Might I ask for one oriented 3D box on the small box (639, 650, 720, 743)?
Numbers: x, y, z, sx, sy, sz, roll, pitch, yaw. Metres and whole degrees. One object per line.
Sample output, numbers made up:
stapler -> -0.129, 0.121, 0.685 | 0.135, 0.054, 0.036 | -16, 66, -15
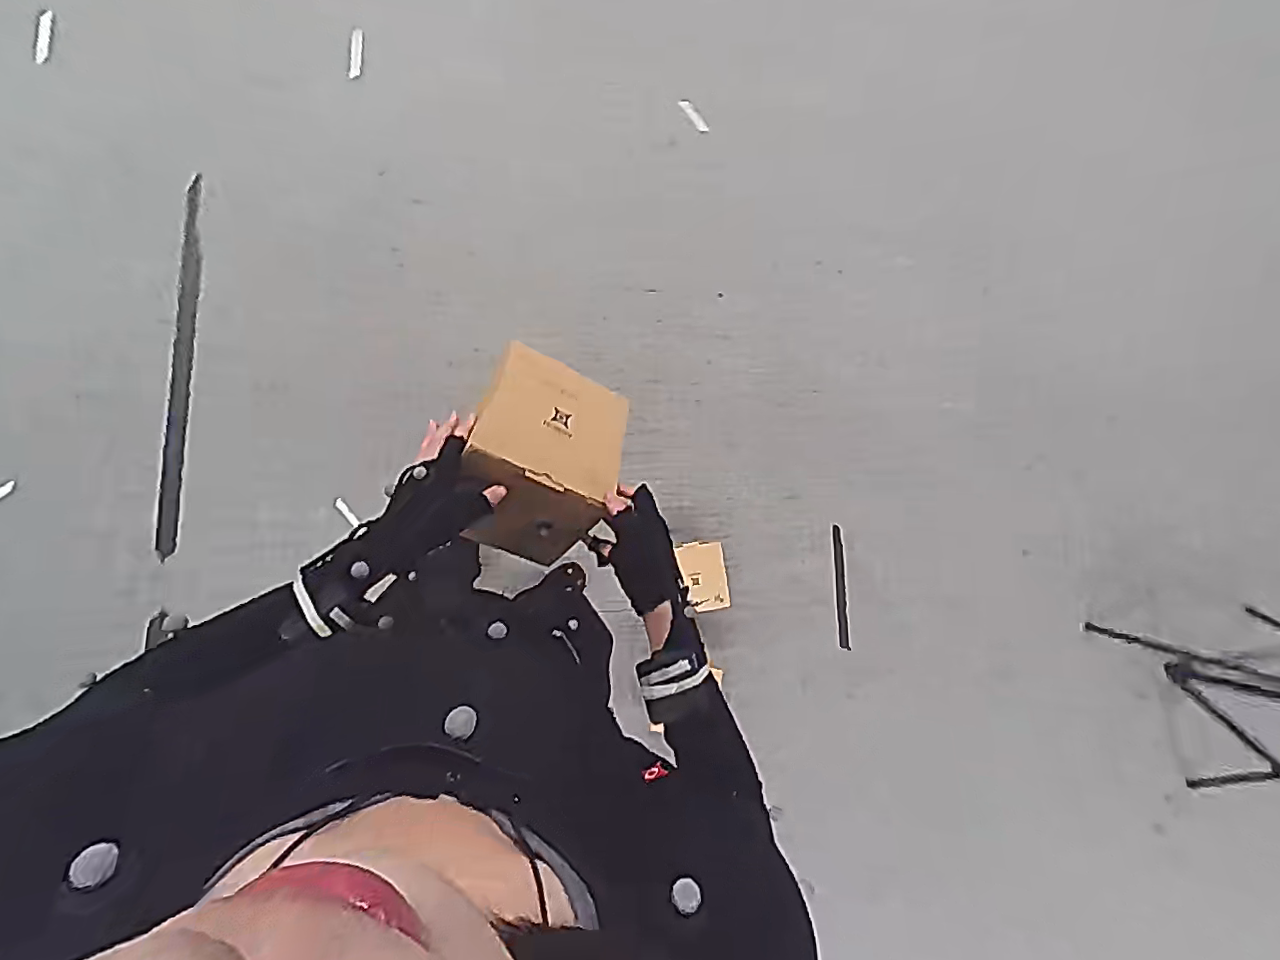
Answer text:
small box -> 0.098, 0.568, 1.434 | 0.168, 0.176, 0.179 | 12, 82, -6

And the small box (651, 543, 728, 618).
small box -> 0.128, 0.268, 1.469 | 0.168, 0.176, 0.179 | -7, 84, -8

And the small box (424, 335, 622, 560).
small box -> -0.140, -0.028, 0.646 | 0.168, 0.176, 0.179 | 24, 47, -23
